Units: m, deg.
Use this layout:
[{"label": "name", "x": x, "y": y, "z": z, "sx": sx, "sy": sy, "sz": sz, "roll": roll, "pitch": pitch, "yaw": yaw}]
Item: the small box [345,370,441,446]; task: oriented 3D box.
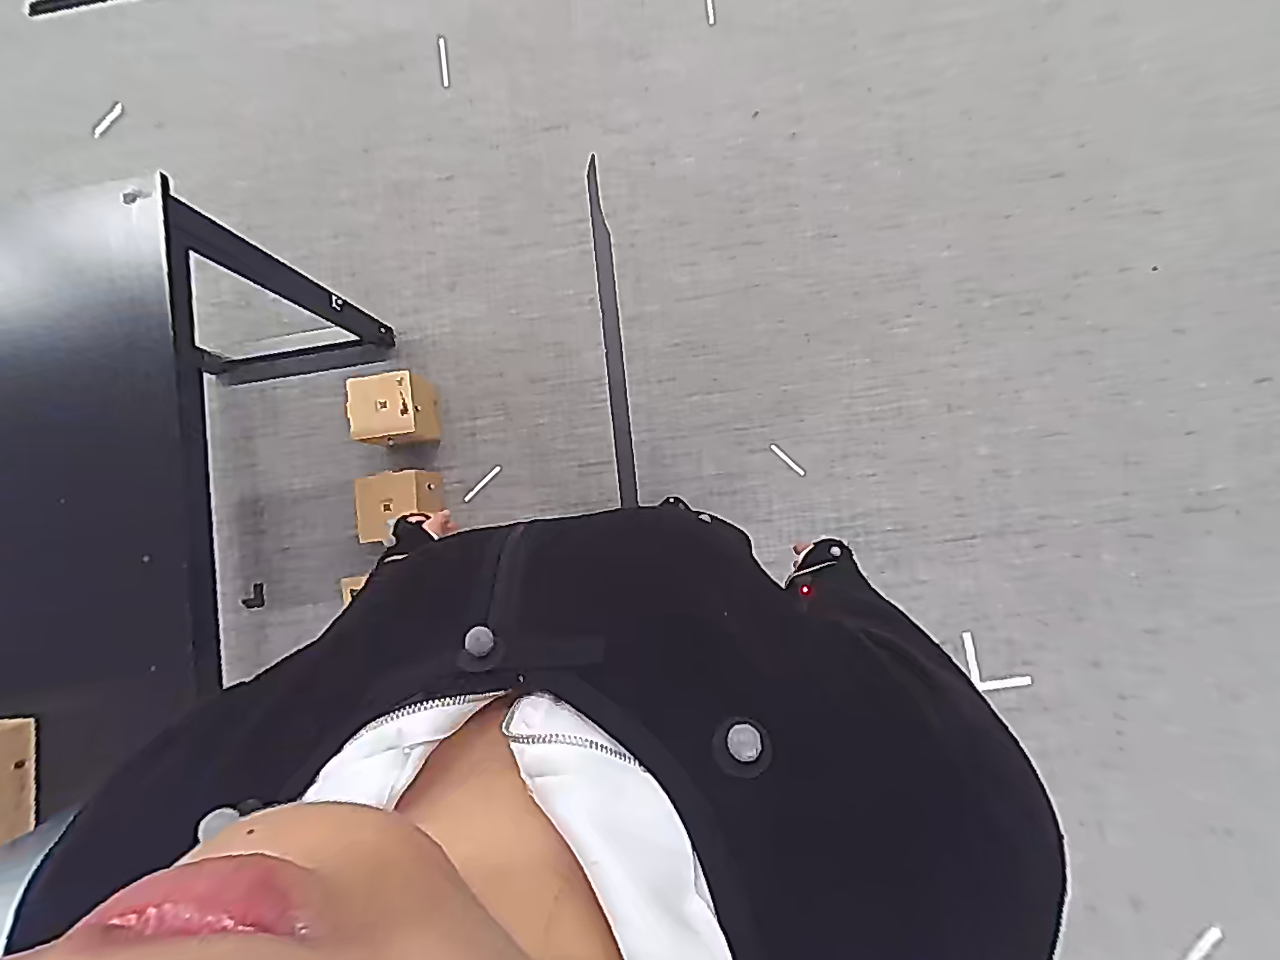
[{"label": "small box", "x": -0.674, "y": -0.191, "z": 1.487, "sx": 0.179, "sy": 0.176, "sz": 0.168, "roll": -8, "pitch": 87, "yaw": 4}]

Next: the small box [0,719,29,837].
[{"label": "small box", "x": -1.014, "y": 0.444, "z": 0.746, "sx": 0.179, "sy": 0.176, "sz": 0.168, "roll": -4, "pitch": 86, "yaw": 4}]

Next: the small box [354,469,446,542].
[{"label": "small box", "x": -0.648, "y": 0.070, "z": 1.473, "sx": 0.168, "sy": 0.176, "sz": 0.179, "roll": -7, "pitch": 87, "yaw": 5}]

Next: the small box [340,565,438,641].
[{"label": "small box", "x": -0.672, "y": 0.327, "z": 1.460, "sx": 0.179, "sy": 0.176, "sz": 0.168, "roll": -7, "pitch": 87, "yaw": 3}]
